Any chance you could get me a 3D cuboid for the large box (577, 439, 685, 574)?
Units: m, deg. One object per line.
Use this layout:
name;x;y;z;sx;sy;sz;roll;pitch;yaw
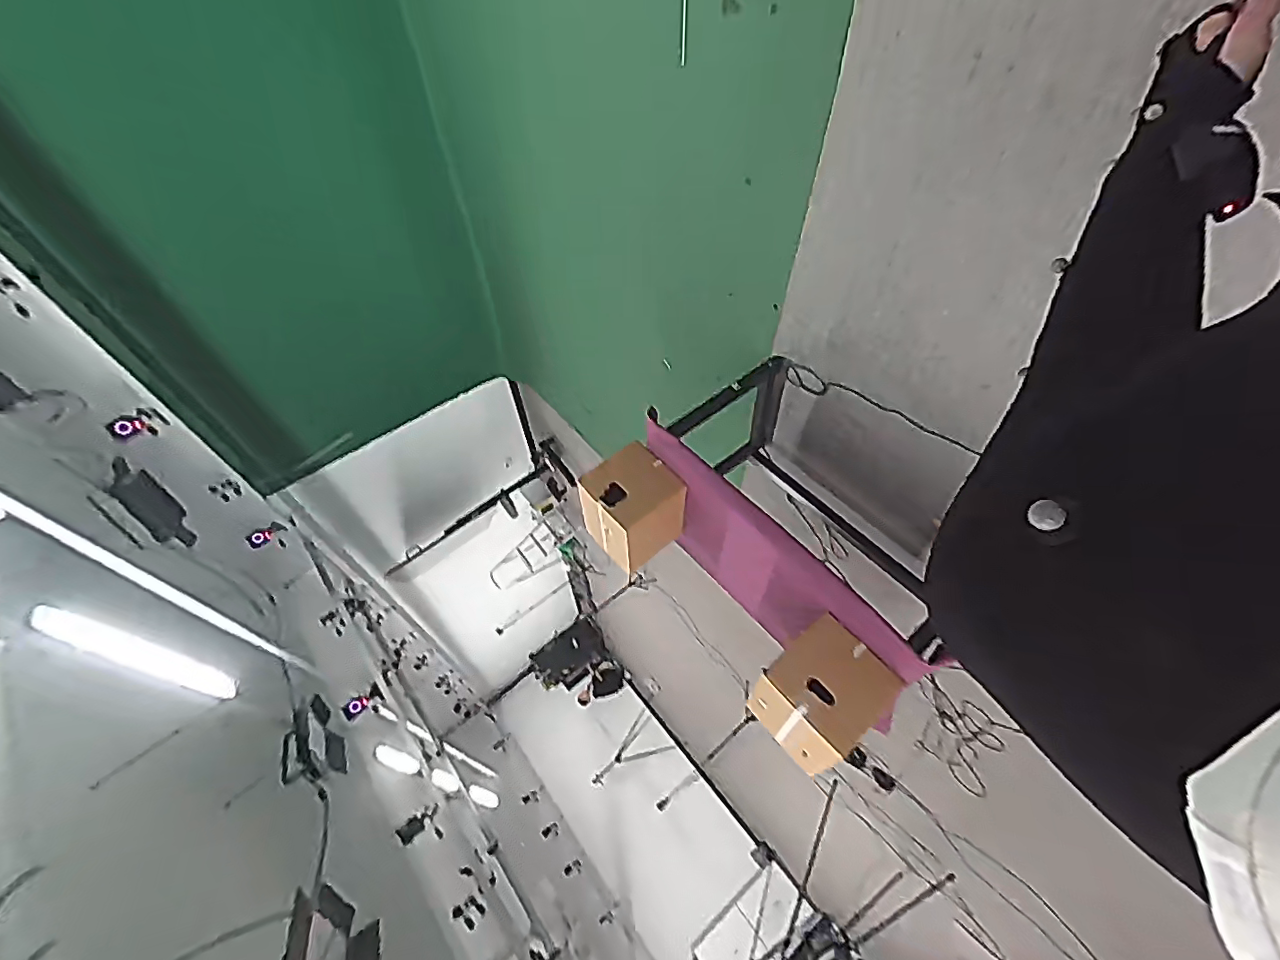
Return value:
large box;-0.030;0.113;2.247;0.320;0.320;0.408;43;155;26
